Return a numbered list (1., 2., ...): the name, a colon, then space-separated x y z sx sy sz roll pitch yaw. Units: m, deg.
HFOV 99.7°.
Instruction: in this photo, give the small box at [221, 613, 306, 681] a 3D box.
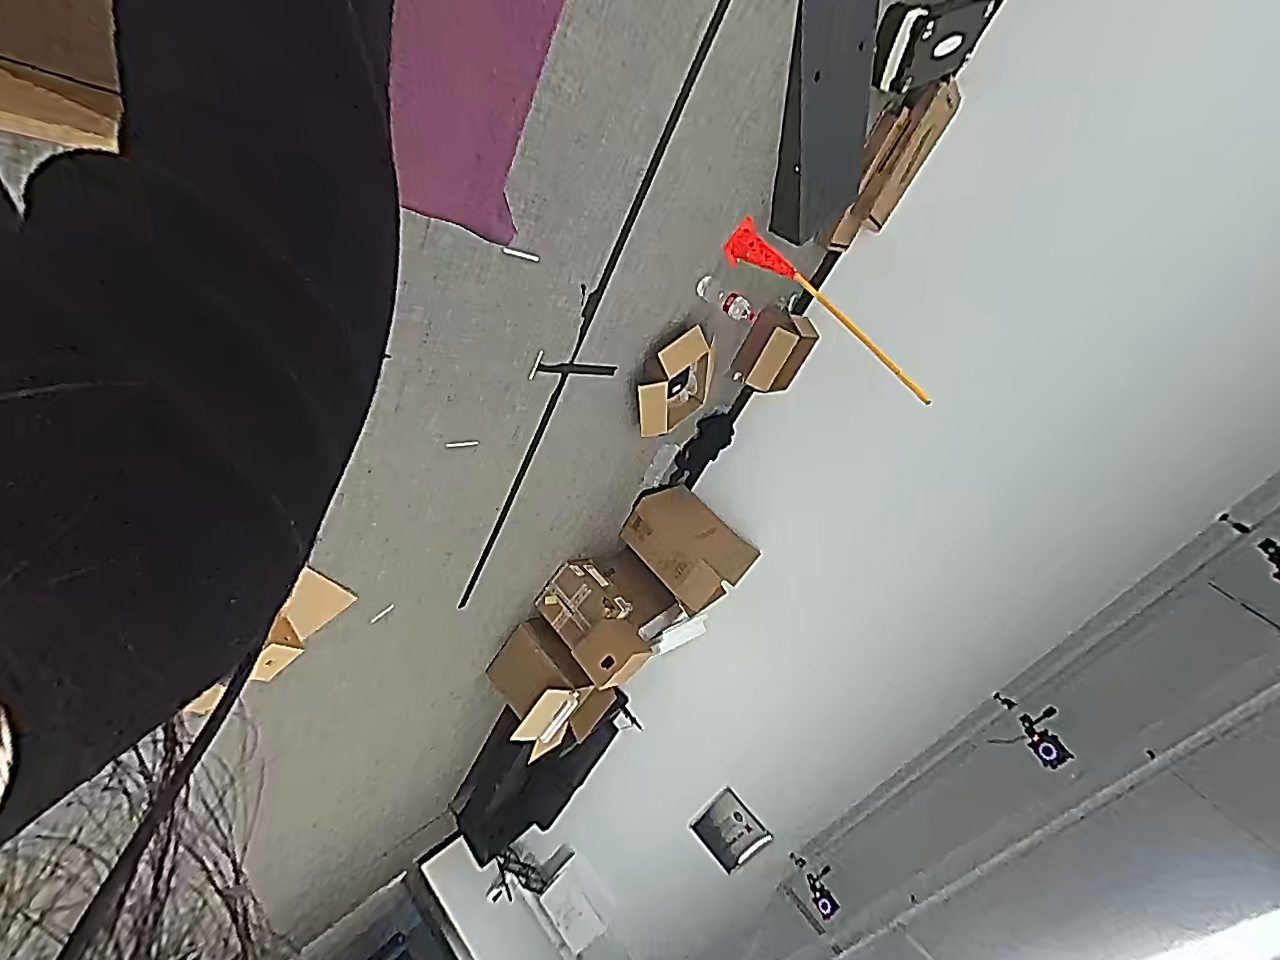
1. small box: -1.401 0.621 2.013 0.168 0.176 0.179 -42 155 -11
